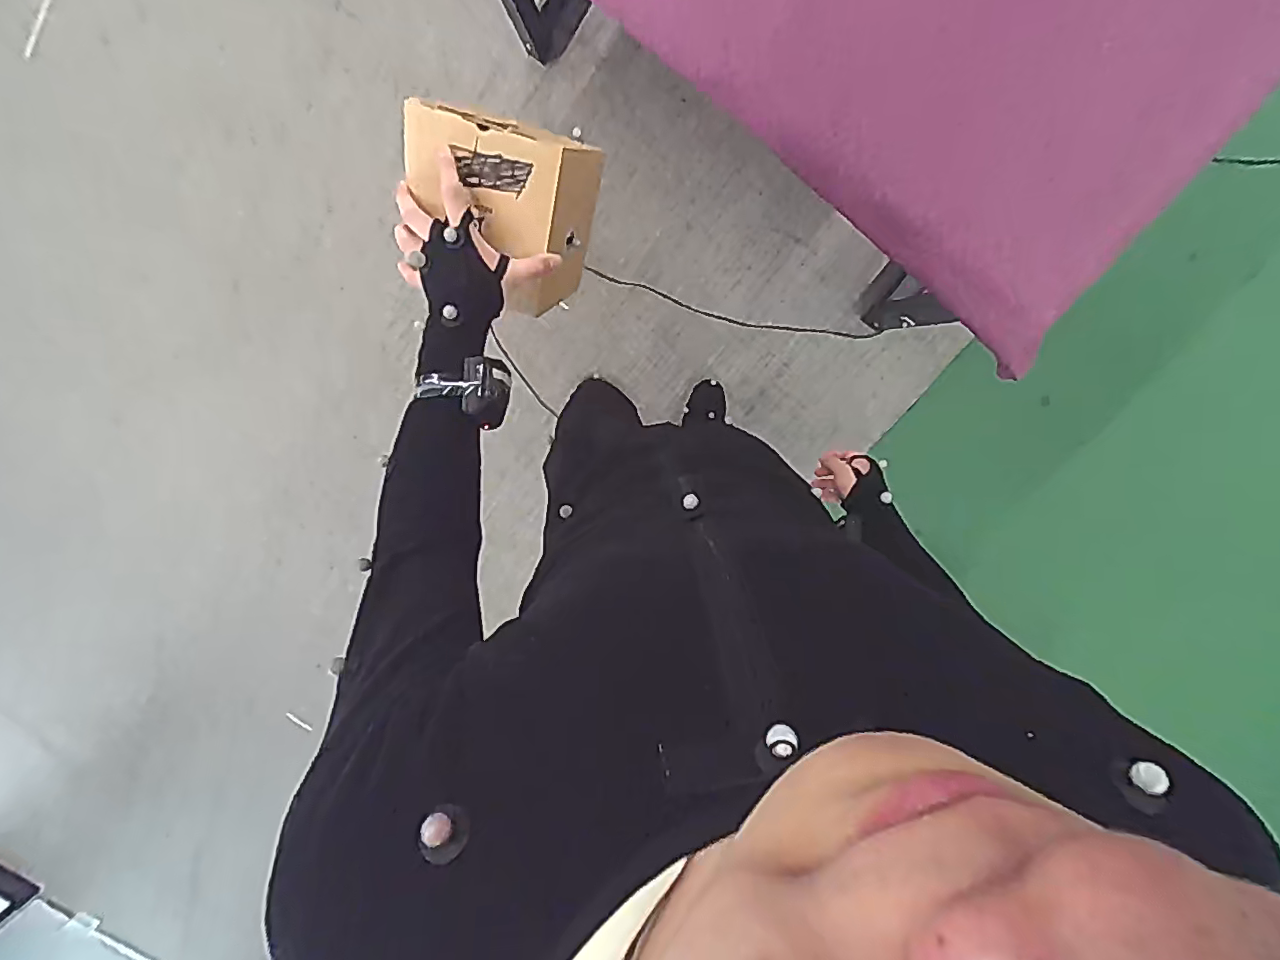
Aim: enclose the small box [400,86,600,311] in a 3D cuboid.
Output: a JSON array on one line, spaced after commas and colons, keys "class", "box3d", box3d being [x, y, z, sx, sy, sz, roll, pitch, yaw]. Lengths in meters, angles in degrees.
[{"class": "small box", "box3d": [-0.157, -0.328, 0.634, 0.168, 0.176, 0.179, 20, 124, 2]}]
